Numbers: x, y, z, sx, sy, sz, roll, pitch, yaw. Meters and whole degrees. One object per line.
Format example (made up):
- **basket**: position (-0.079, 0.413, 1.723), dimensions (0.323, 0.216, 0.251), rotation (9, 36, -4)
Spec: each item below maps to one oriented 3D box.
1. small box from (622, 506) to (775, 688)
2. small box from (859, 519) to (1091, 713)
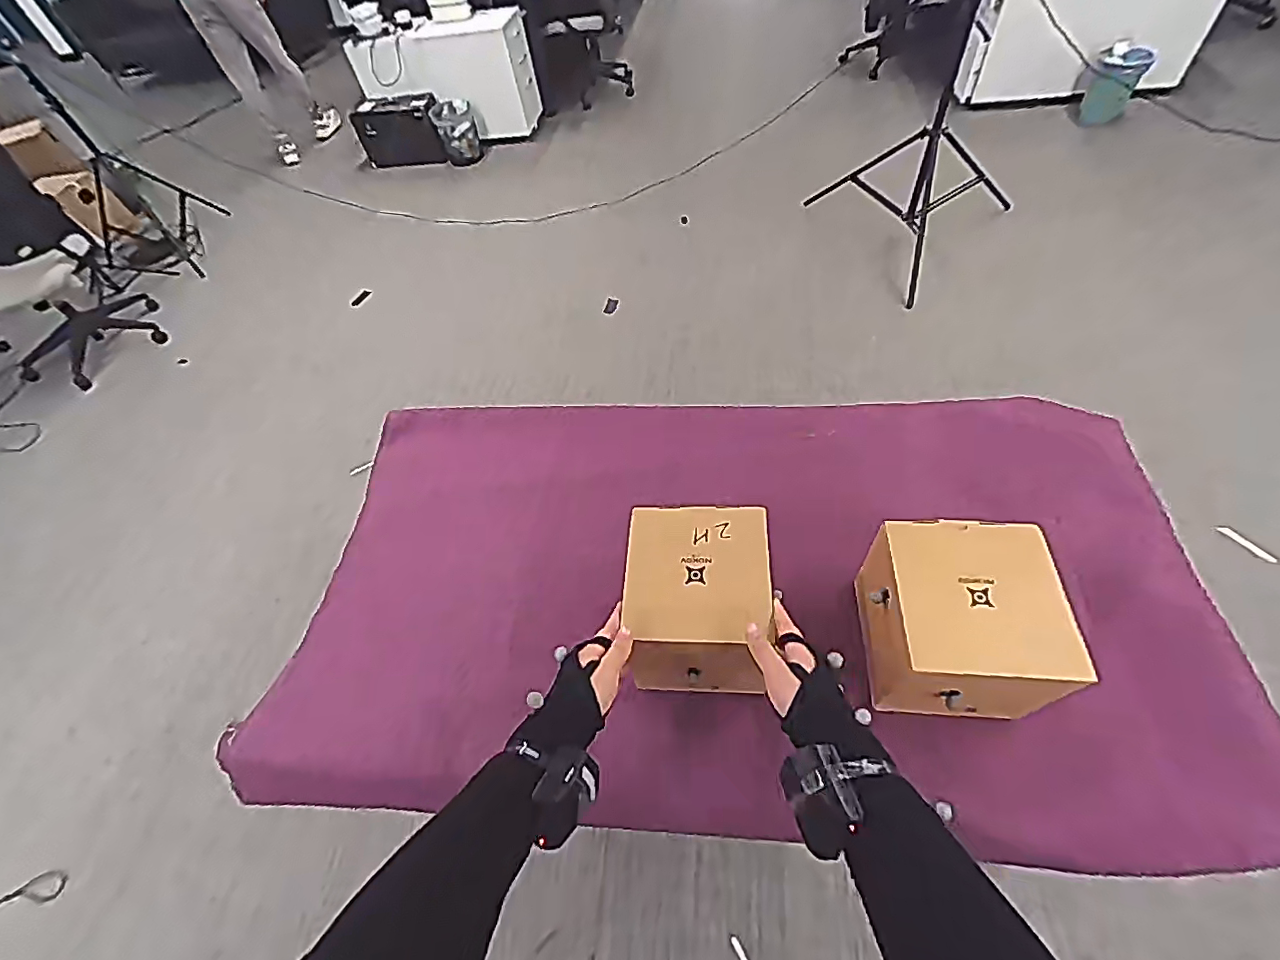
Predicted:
- **small box**: position (0.078, 0.150, 0.682), dimensions (0.168, 0.176, 0.179), rotation (-1, 51, 8)
- **small box**: position (0.367, 0.163, 0.635), dimensions (0.168, 0.176, 0.179), rotation (1, 54, 9)
